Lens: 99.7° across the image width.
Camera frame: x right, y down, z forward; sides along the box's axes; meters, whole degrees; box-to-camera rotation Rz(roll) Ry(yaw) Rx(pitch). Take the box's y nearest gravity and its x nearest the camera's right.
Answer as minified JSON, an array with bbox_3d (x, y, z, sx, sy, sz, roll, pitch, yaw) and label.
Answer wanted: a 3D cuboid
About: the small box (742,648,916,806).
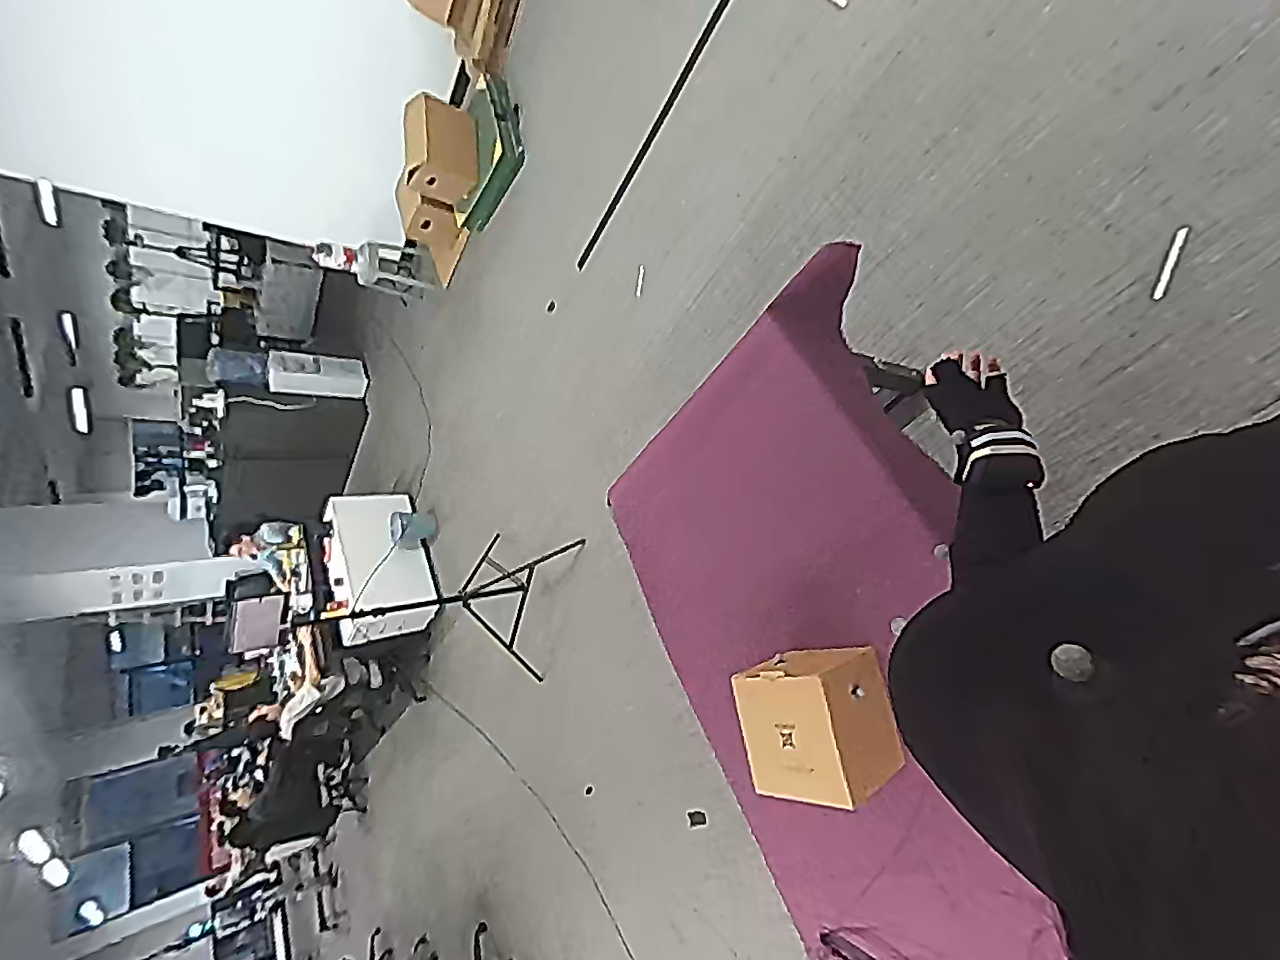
[{"bbox_3d":[0.290,0.364,0.833,0.168,0.176,0.179,-26,73,49],"label":"small box"}]
